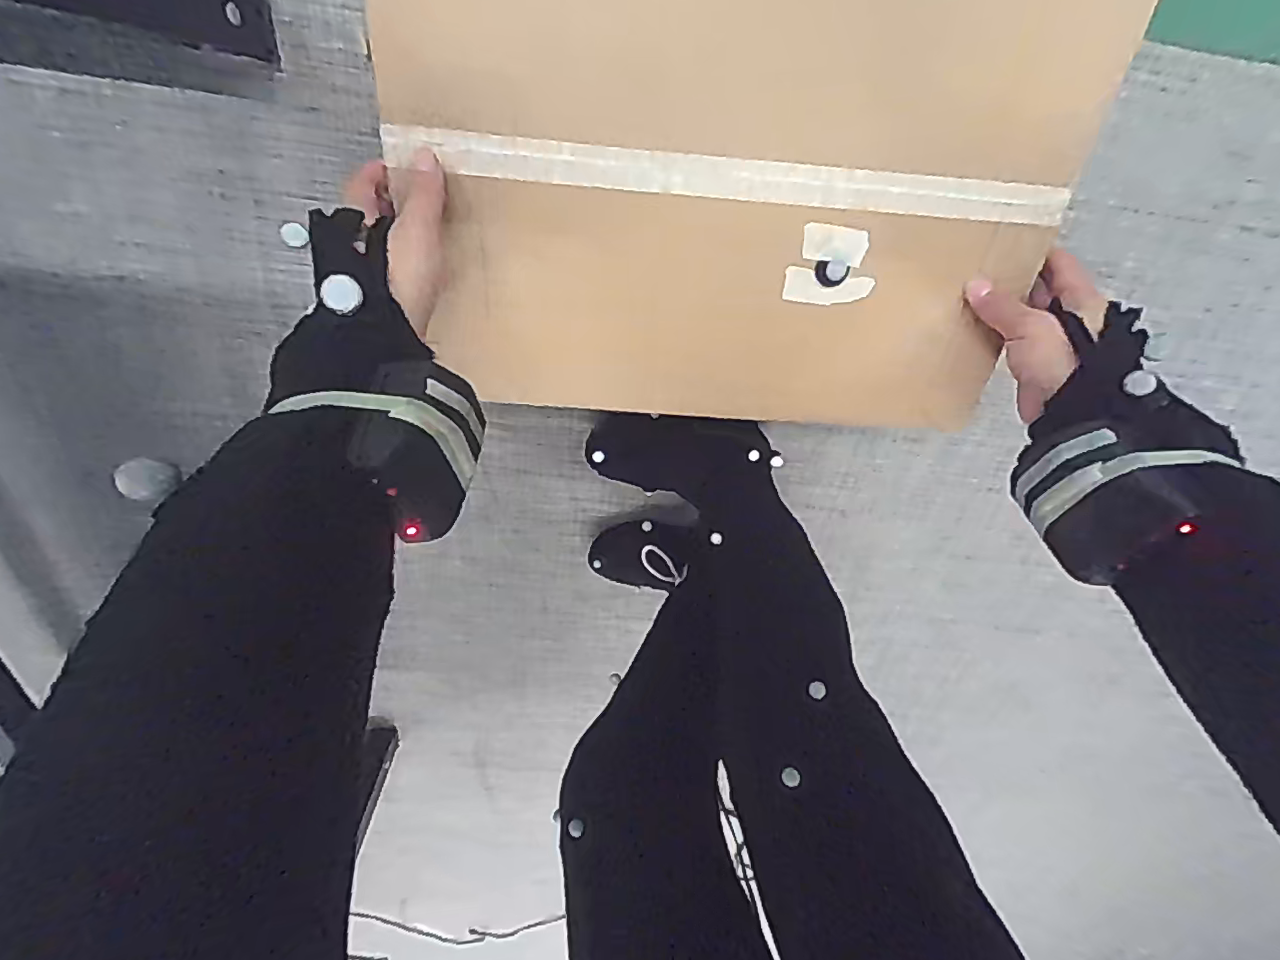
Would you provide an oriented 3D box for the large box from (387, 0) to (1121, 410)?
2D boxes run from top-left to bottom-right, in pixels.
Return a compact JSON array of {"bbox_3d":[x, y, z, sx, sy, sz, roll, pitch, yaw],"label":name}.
[{"bbox_3d":[0.052,-0.266,0.460,0.408,0.320,0.320,2,122,-4],"label":"large box"}]
